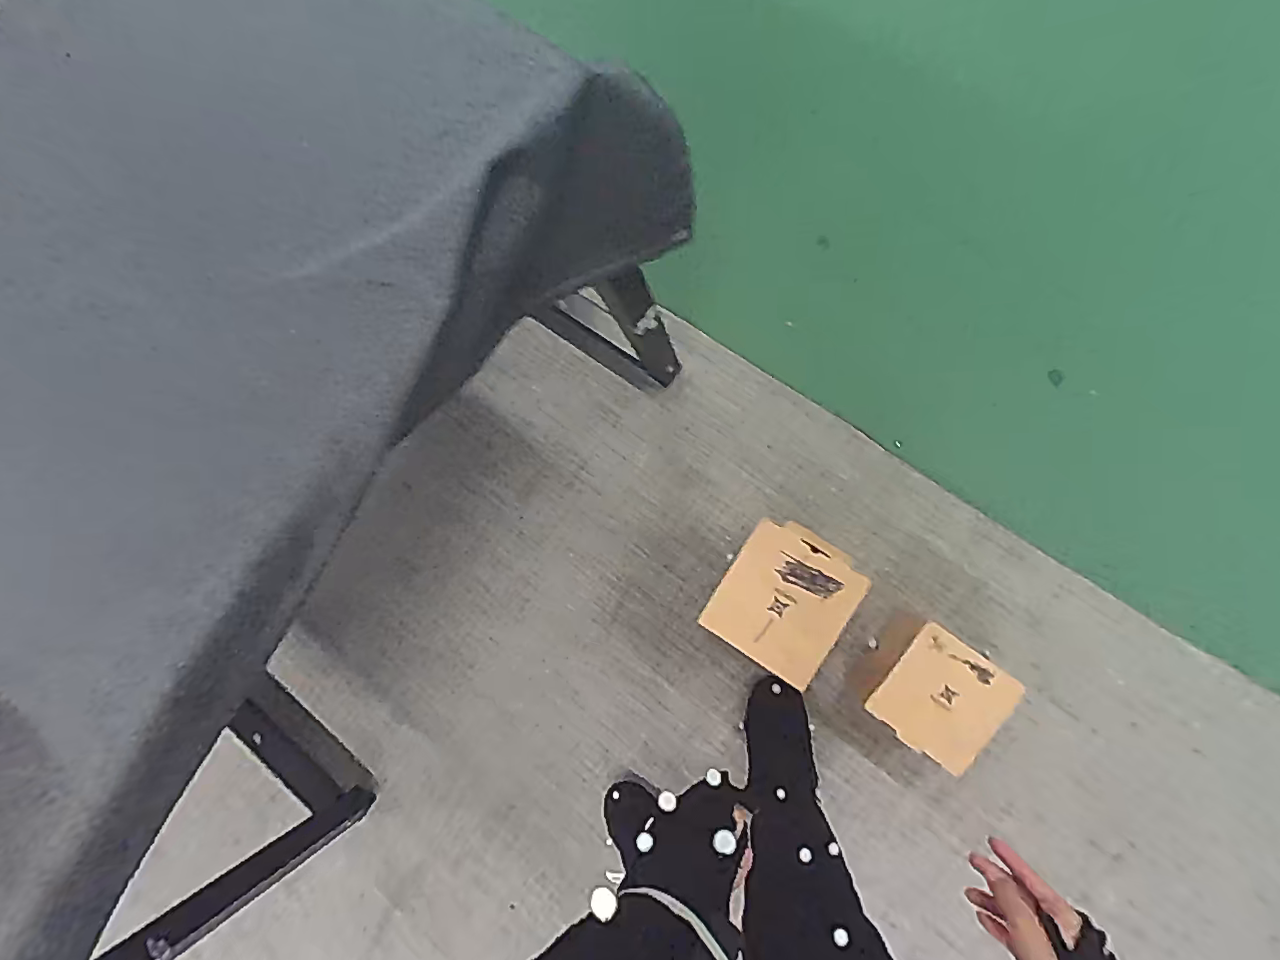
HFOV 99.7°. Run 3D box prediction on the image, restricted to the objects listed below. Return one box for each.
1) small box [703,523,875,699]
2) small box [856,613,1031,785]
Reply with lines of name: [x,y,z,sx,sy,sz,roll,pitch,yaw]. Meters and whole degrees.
small box: [0.210,0.180,0.797,0.168,0.176,0.179,32,91,14]
small box: [0.480,0.346,0.893,0.168,0.176,0.179,37,93,12]
